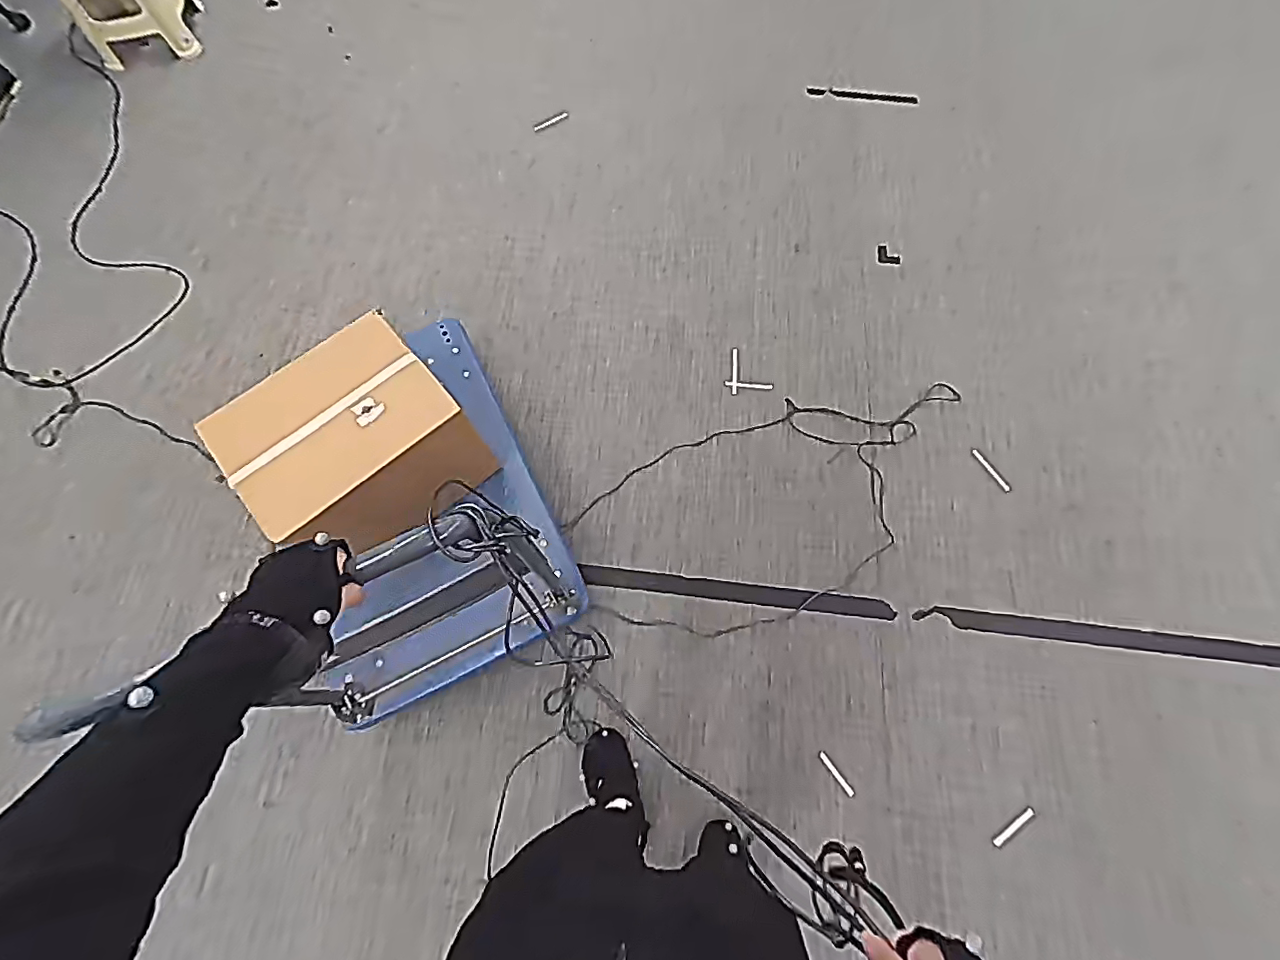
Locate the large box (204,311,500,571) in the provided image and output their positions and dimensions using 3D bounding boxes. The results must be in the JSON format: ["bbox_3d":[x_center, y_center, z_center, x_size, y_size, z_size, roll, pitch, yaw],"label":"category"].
[{"bbox_3d":[-0.581,-0.068,1.163,0.408,0.320,0.320,-39,75,-12],"label":"large box"}]
